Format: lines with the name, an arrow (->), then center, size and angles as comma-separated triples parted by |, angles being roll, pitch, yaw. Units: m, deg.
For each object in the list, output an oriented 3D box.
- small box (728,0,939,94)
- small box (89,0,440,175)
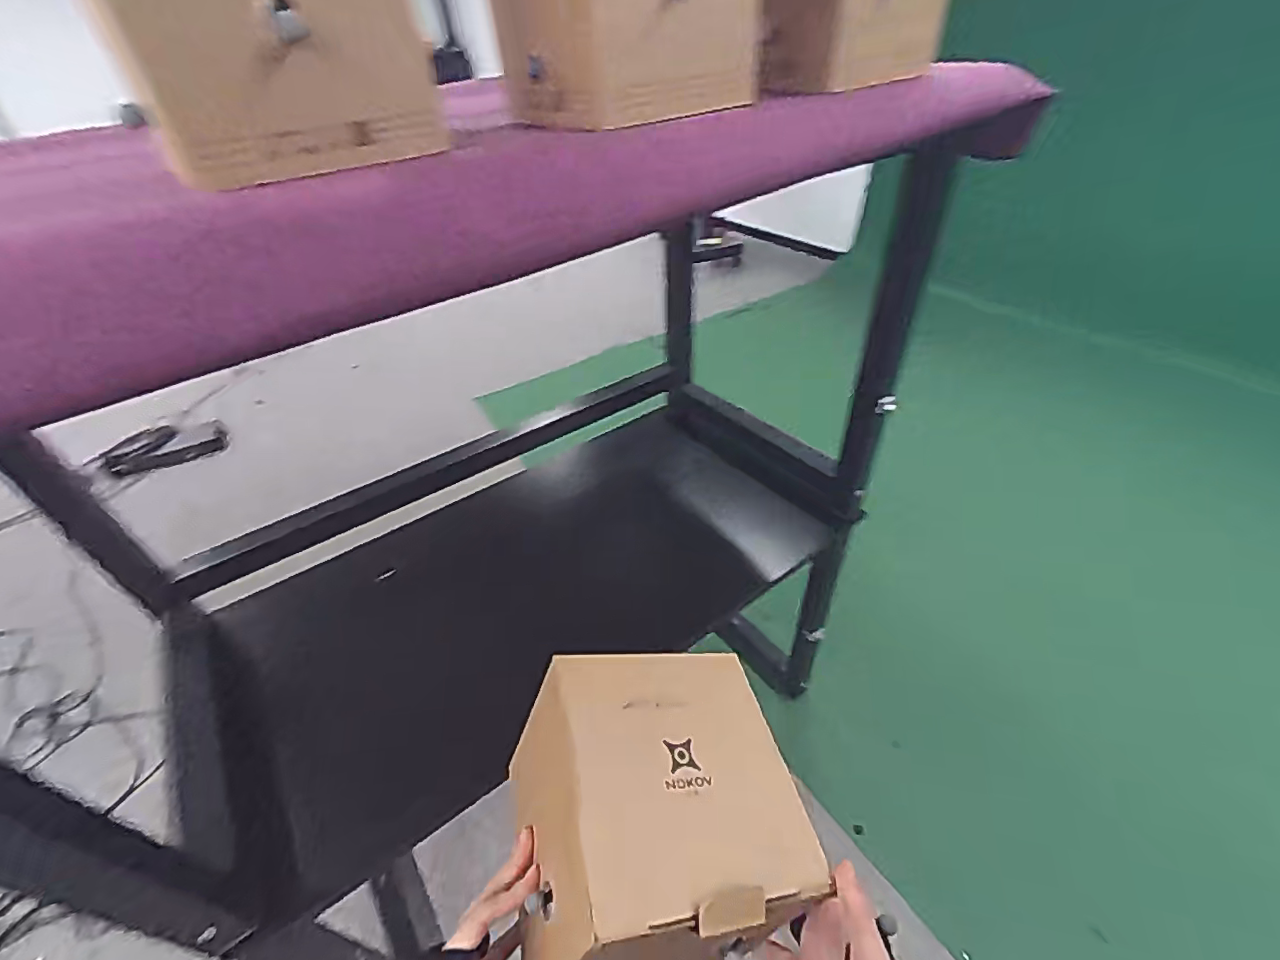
small box -> 0.210, -0.535, 0.583 | 0.179, 0.176, 0.168 | -28, 46, -23
small box -> -0.262, -0.318, 0.365 | 0.168, 0.176, 0.179 | -30, 47, -28
